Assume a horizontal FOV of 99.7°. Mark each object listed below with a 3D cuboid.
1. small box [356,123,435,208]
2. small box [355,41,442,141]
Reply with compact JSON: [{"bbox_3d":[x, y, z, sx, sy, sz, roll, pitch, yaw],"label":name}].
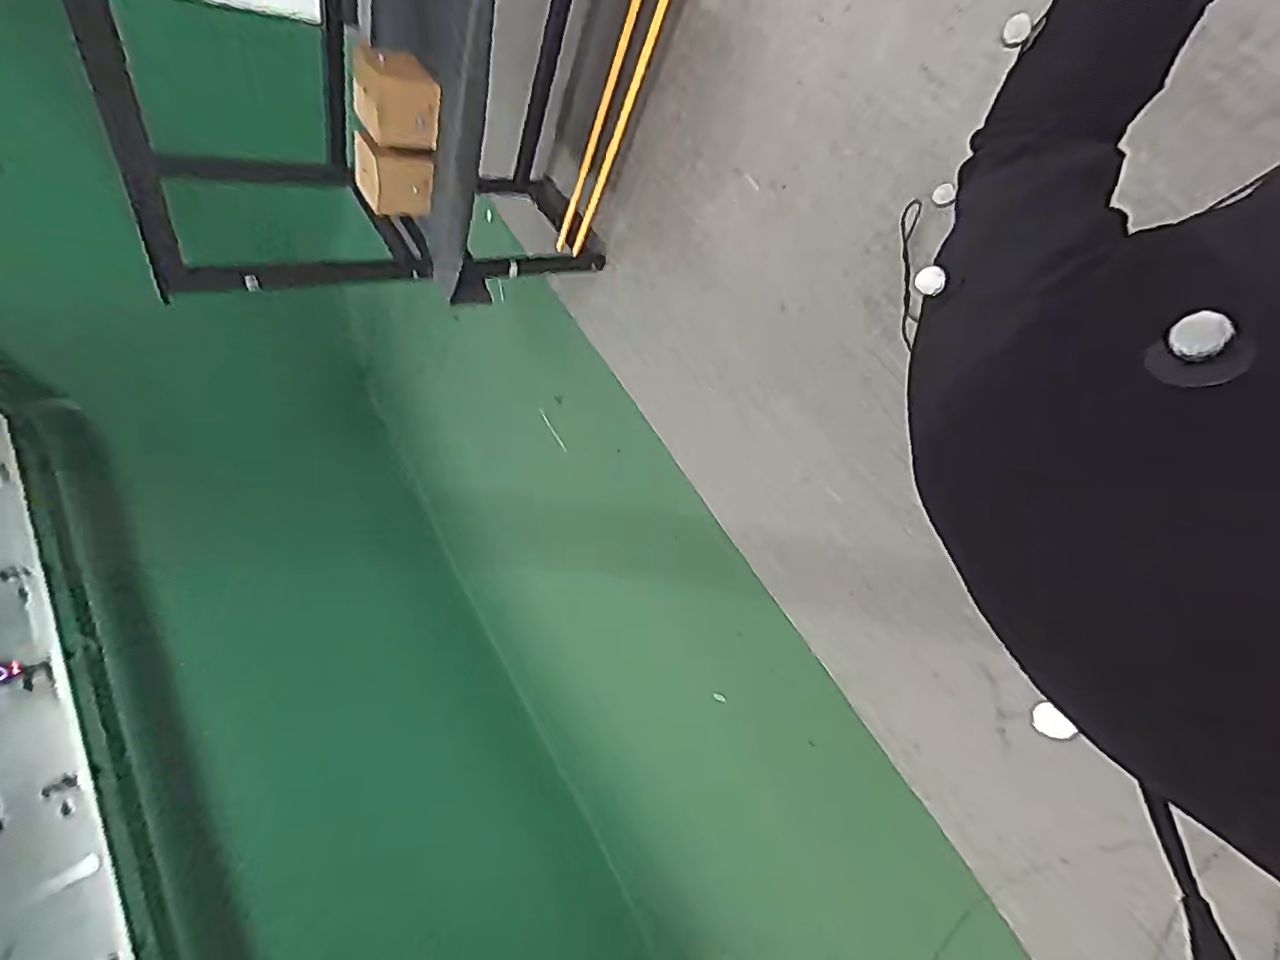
[{"bbox_3d":[-0.750,-0.951,1.651,0.179,0.176,0.168,54,140,20],"label":"small box"},{"bbox_3d":[-0.675,-1.074,1.506,0.179,0.176,0.168,54,141,20],"label":"small box"}]
